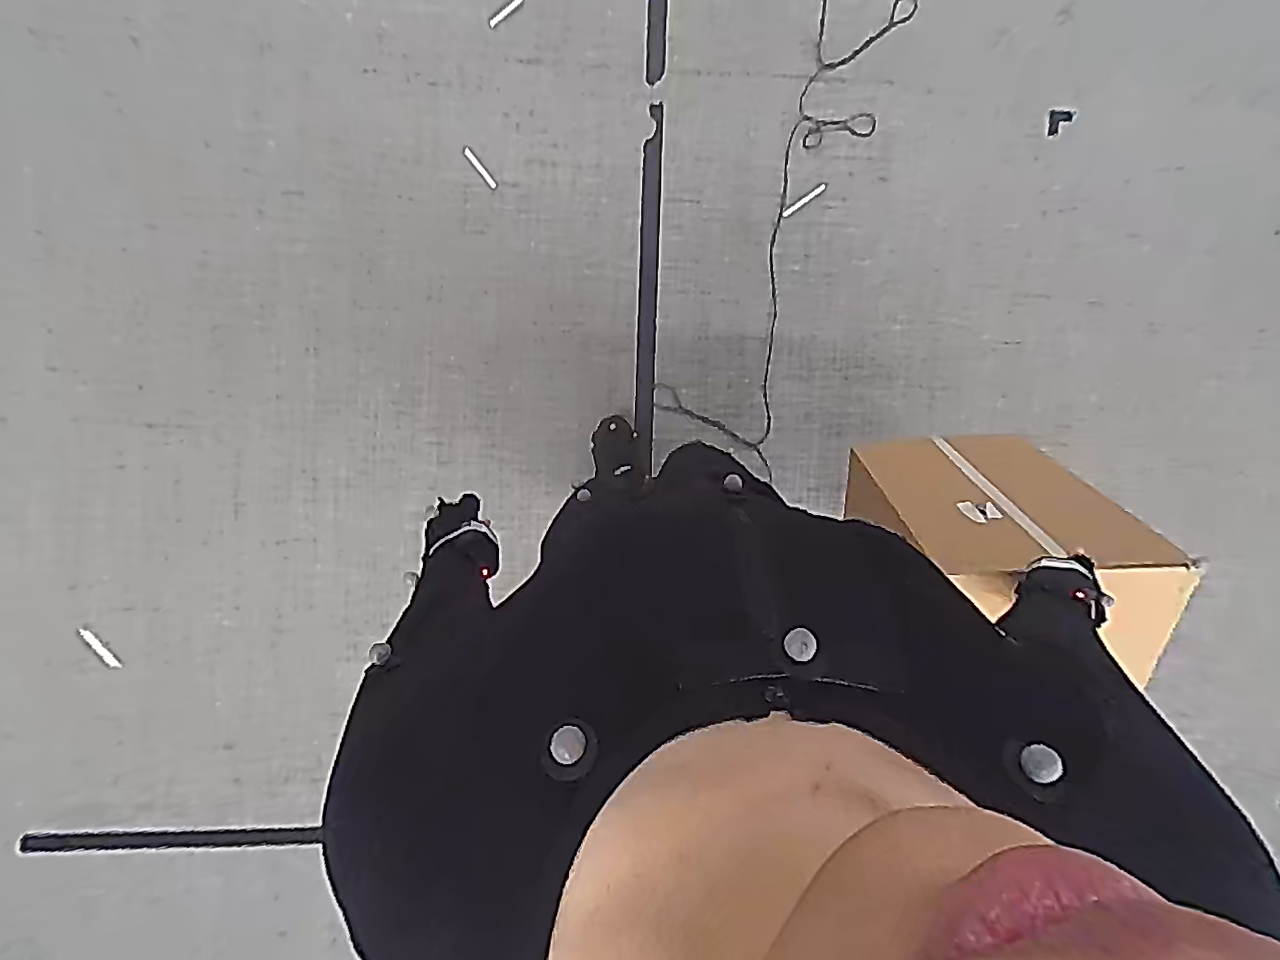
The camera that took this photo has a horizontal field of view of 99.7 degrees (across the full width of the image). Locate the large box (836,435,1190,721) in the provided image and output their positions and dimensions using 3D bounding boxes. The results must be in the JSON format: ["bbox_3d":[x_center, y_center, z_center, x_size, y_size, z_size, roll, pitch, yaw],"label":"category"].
[{"bbox_3d":[0.566,0.148,0.941,0.320,0.408,0.320,-3,120,4],"label":"large box"}]
